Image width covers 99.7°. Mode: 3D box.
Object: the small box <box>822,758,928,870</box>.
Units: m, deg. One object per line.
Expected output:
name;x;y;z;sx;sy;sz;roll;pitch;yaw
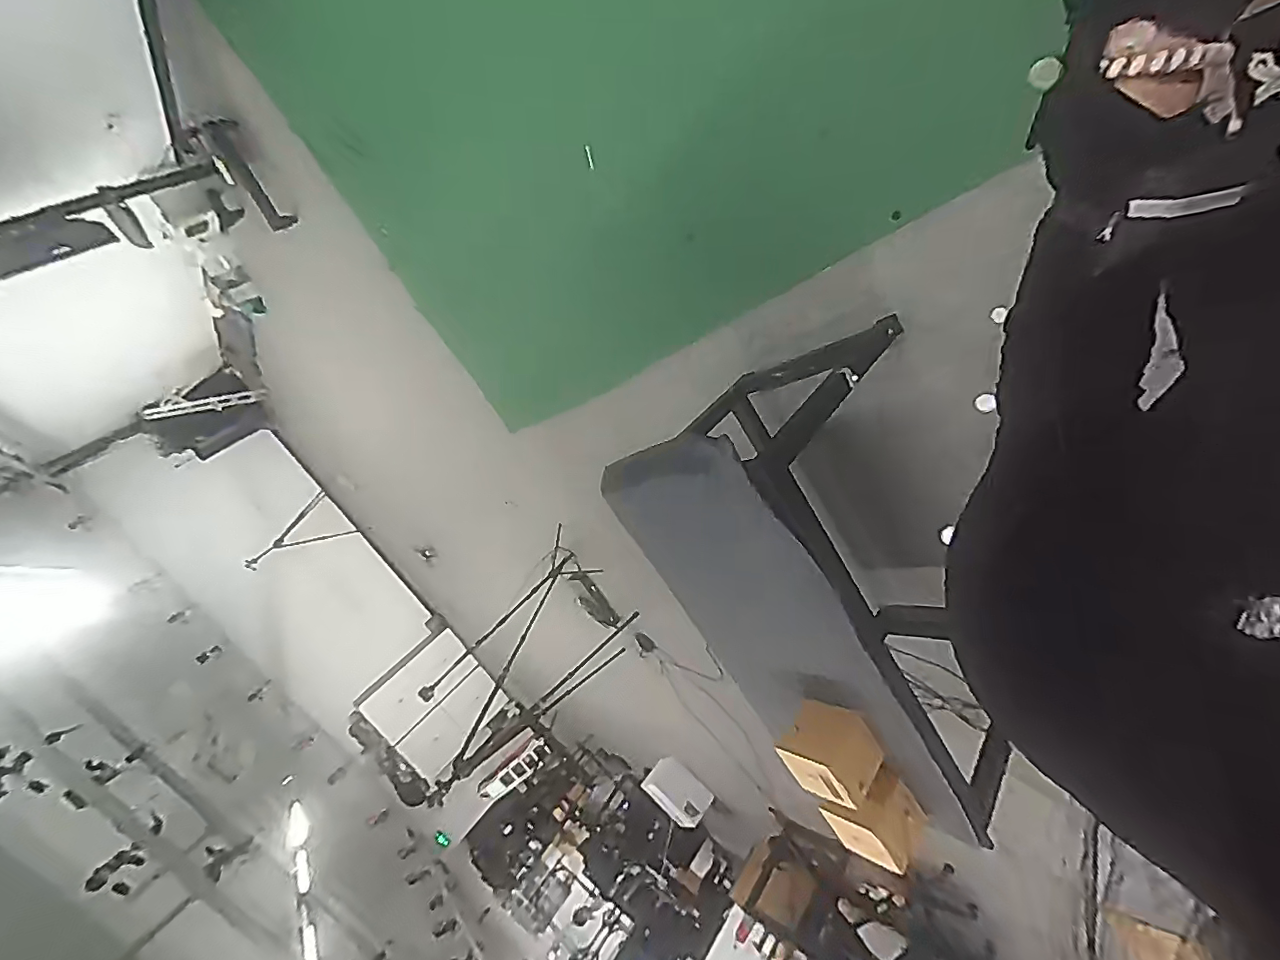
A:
small box;0.637;0.890;1.462;0.168;0.176;0.179;55;148;-12
